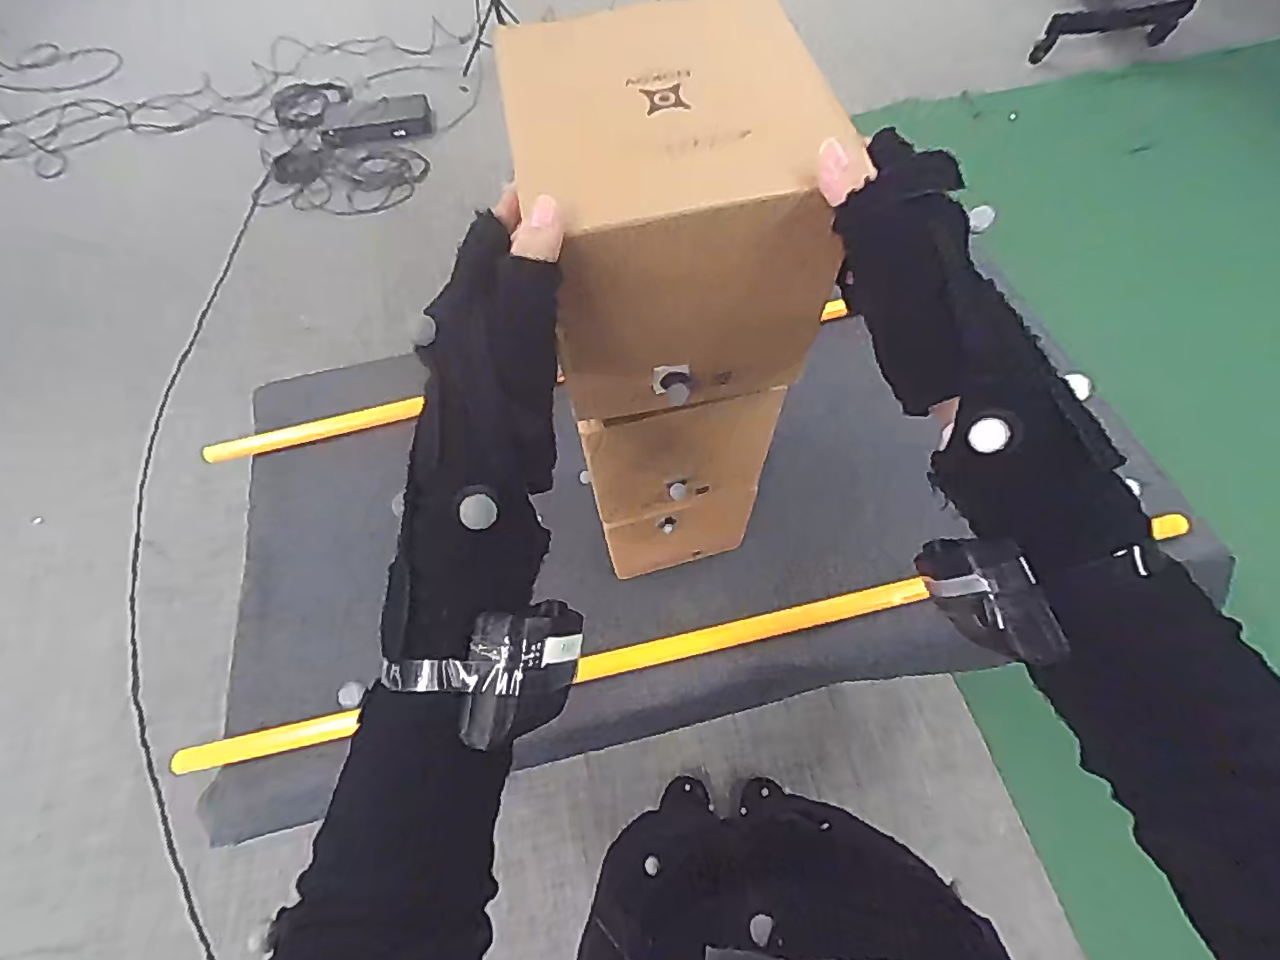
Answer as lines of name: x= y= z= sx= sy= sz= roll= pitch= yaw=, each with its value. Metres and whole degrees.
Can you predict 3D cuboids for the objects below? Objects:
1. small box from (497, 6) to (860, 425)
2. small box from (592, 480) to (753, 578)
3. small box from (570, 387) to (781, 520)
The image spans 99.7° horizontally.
small box: x=0.012 y=-0.162 z=0.360 sx=0.168 sy=0.176 sz=0.179 roll=-11 pitch=65 yaw=-3
small box: x=0.023 y=-0.003 z=0.666 sx=0.168 sy=0.176 sz=0.179 roll=-15 pitch=61 yaw=-4
small box: x=0.015 y=-0.085 z=0.524 sx=0.168 sy=0.176 sz=0.179 roll=-13 pitch=62 yaw=-4
